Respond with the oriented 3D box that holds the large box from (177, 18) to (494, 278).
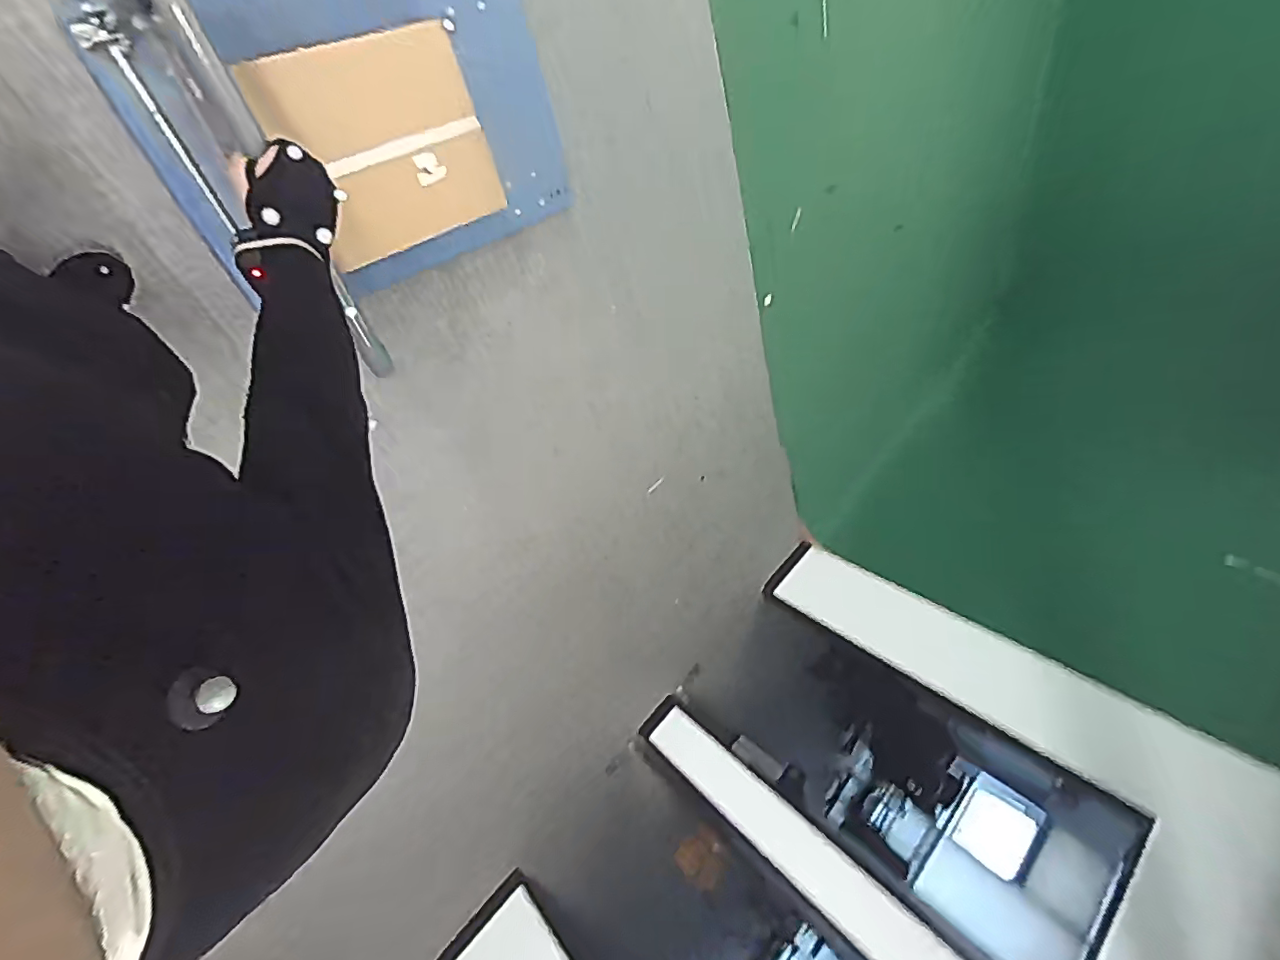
[{"bbox_3d":[-0.581,-0.637,1.065,0.408,0.320,0.320,-39,133,-25],"label":"large box"}]
